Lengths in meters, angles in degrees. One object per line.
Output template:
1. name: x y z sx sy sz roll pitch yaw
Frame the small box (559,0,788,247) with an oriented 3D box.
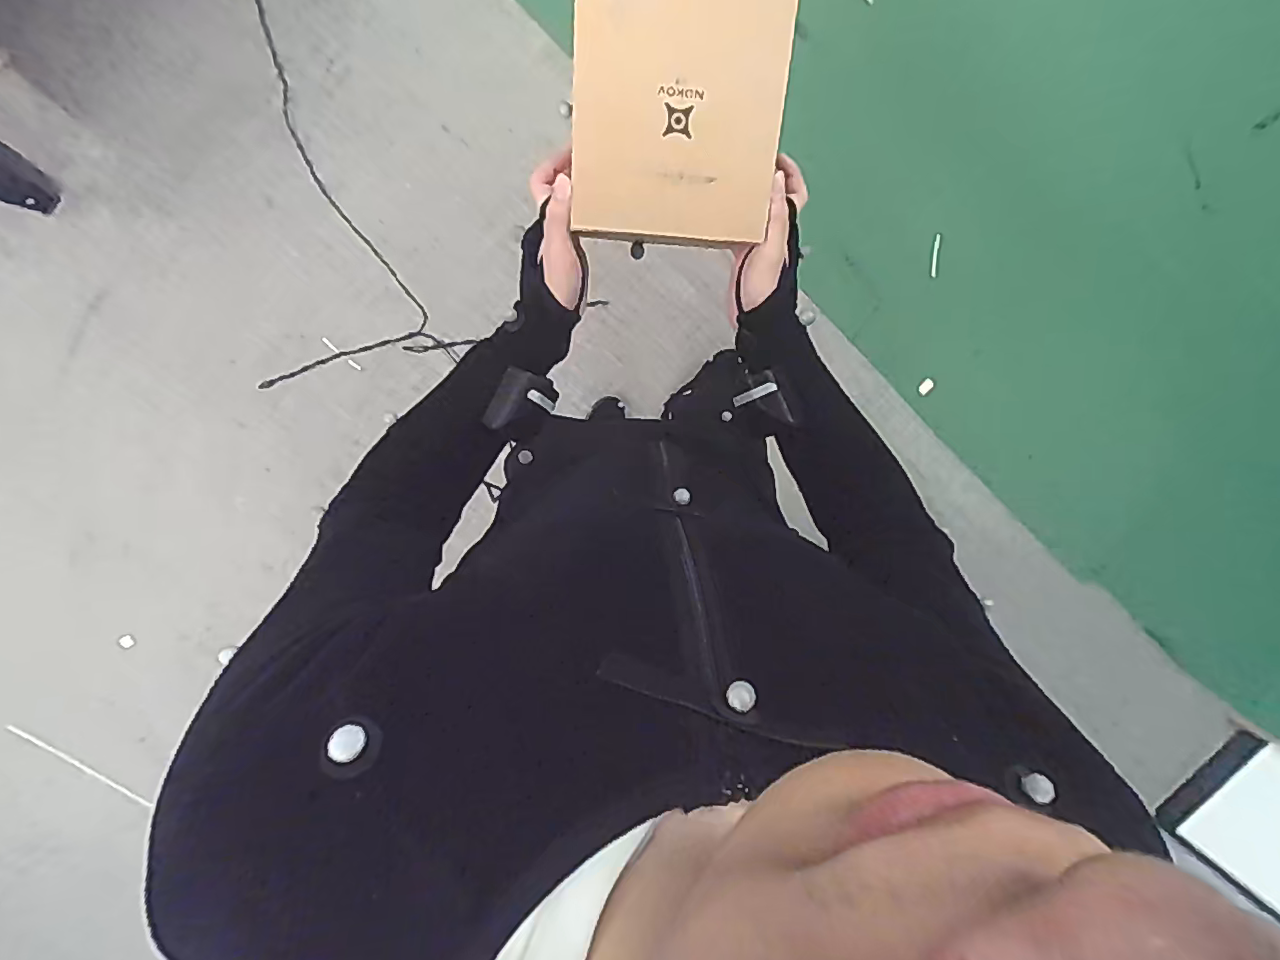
1. small box: 0.016 -0.312 0.483 0.168 0.176 0.179 2 112 -4

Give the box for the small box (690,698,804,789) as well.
1. small box: 0.237 0.642 1.238 0.168 0.176 0.179 -42 99 4
